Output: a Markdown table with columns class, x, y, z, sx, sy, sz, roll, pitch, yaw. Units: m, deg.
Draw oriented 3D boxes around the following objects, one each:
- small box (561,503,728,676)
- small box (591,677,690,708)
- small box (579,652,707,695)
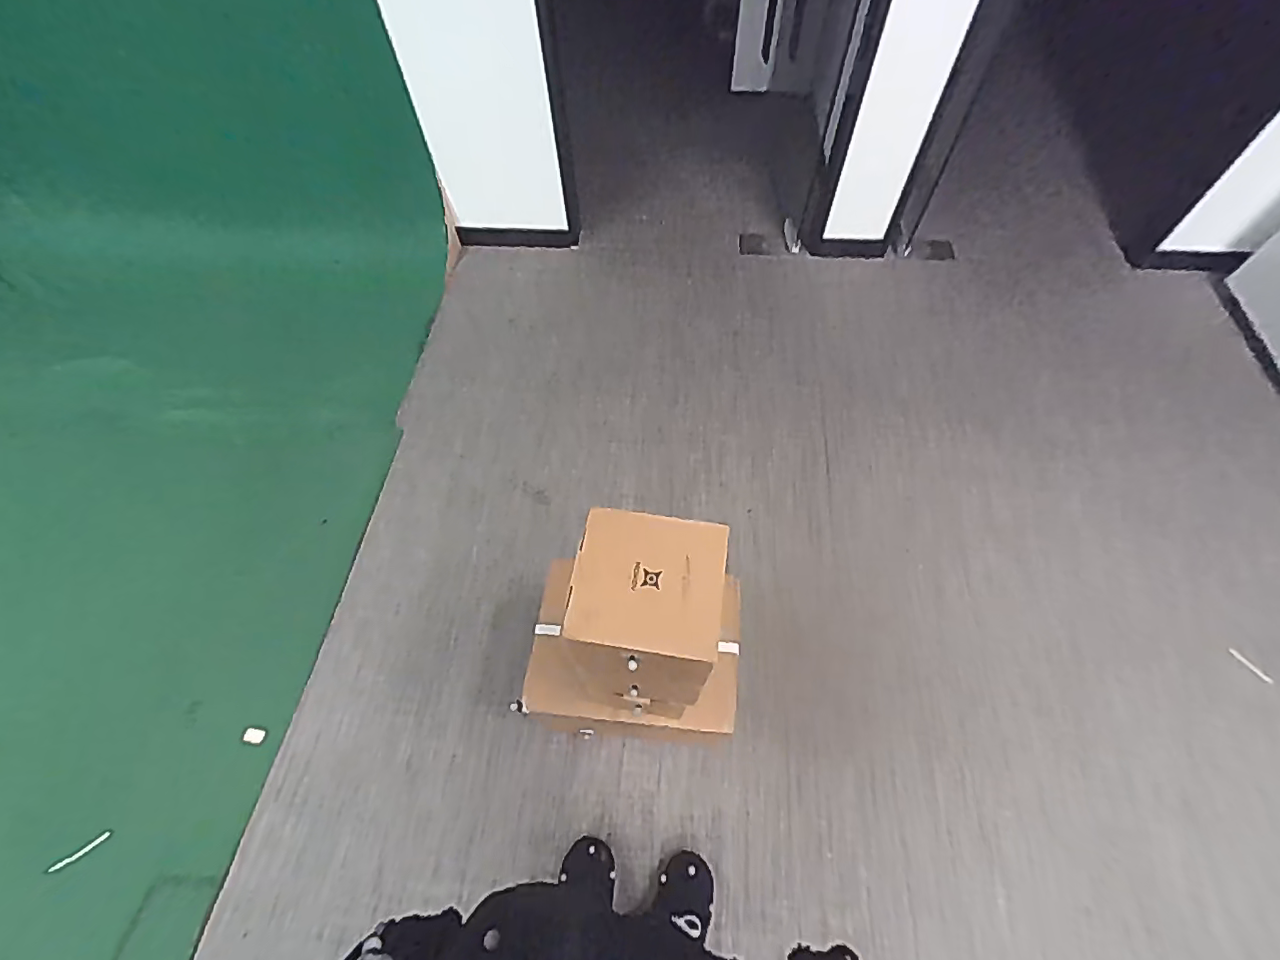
| class | x | y | z | sx | sy | sz | roll | pitch | yaw |
| --- | --- | --- | --- | --- | --- | --- | --- | --- | --- |
| small box | 0.012 | 0.147 | 0.696 | 0.179 | 0.176 | 0.168 | 6 | 62 | 5 |
| small box | 0.018 | 0.306 | 0.981 | 0.168 | 0.176 | 0.179 | 7 | 61 | 7 |
| small box | 0.018 | 0.228 | 0.836 | 0.179 | 0.176 | 0.168 | 6 | 61 | 7 |
